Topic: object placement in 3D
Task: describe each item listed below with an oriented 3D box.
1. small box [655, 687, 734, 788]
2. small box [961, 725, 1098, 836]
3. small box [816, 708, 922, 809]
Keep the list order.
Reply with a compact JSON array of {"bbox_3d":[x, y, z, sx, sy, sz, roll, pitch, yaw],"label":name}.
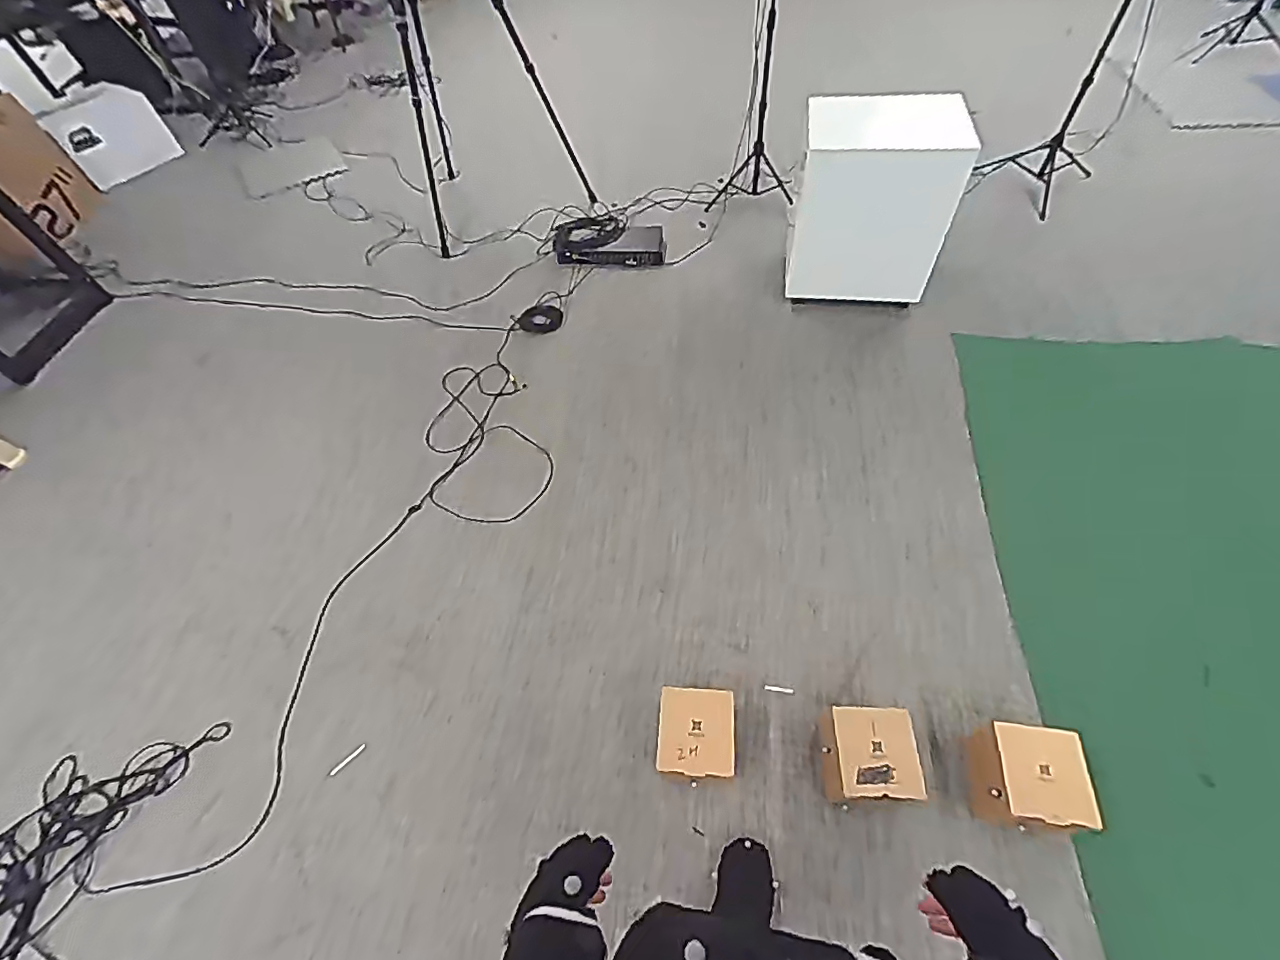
[{"bbox_3d":[0.127,0.595,1.248,0.168,0.176,0.179,2,56,7],"label":"small box"},{"bbox_3d":[0.819,0.647,1.162,0.168,0.176,0.179,5,56,9],"label":"small box"},{"bbox_3d":[0.498,0.622,1.202,0.168,0.176,0.179,1,54,5],"label":"small box"}]
